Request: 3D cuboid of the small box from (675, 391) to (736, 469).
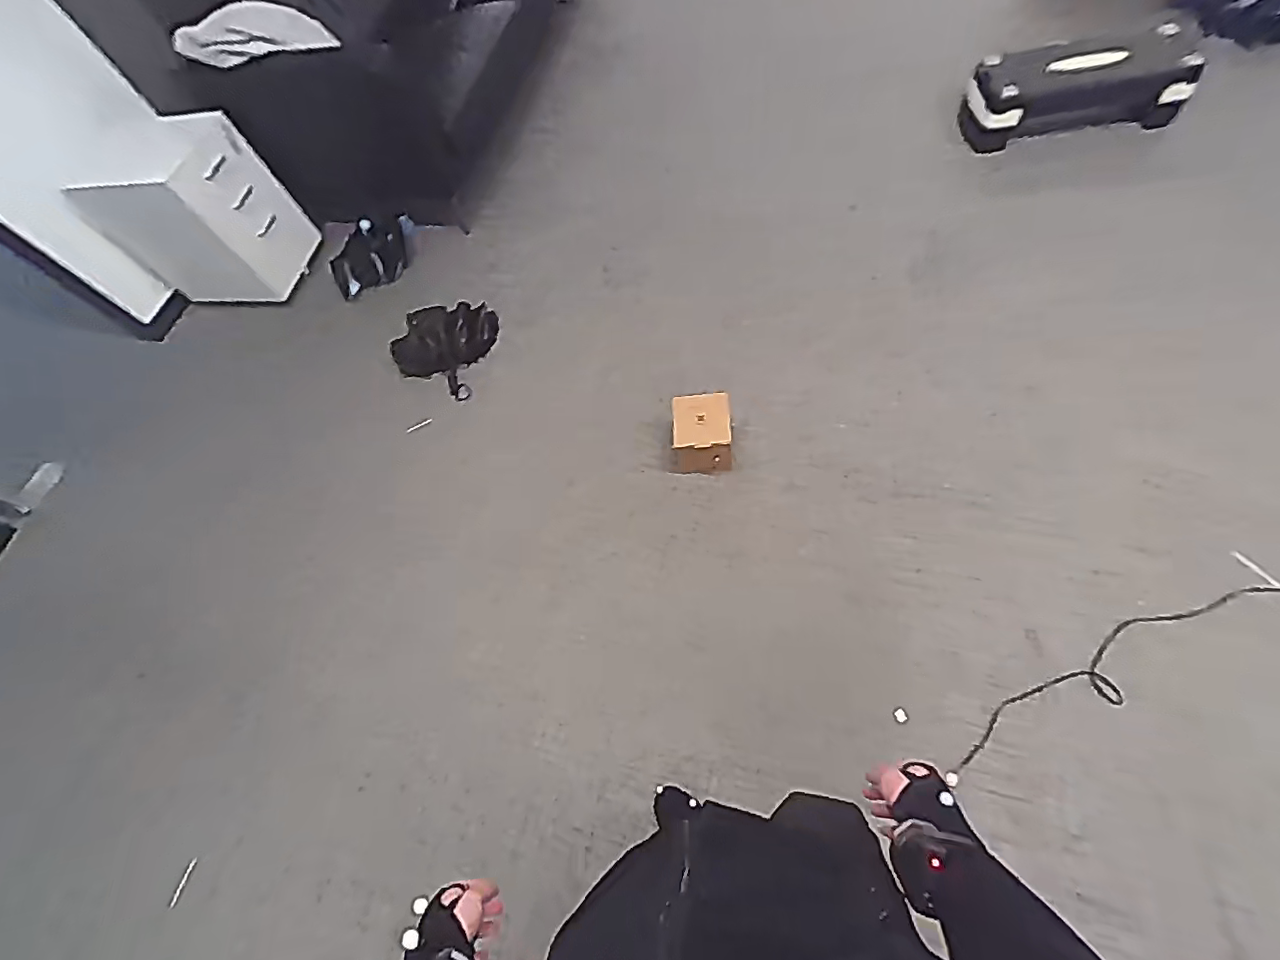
[{"bbox_3d":[0.200,-0.142,1.630,0.168,0.176,0.179,-5,62,9],"label":"small box"}]
